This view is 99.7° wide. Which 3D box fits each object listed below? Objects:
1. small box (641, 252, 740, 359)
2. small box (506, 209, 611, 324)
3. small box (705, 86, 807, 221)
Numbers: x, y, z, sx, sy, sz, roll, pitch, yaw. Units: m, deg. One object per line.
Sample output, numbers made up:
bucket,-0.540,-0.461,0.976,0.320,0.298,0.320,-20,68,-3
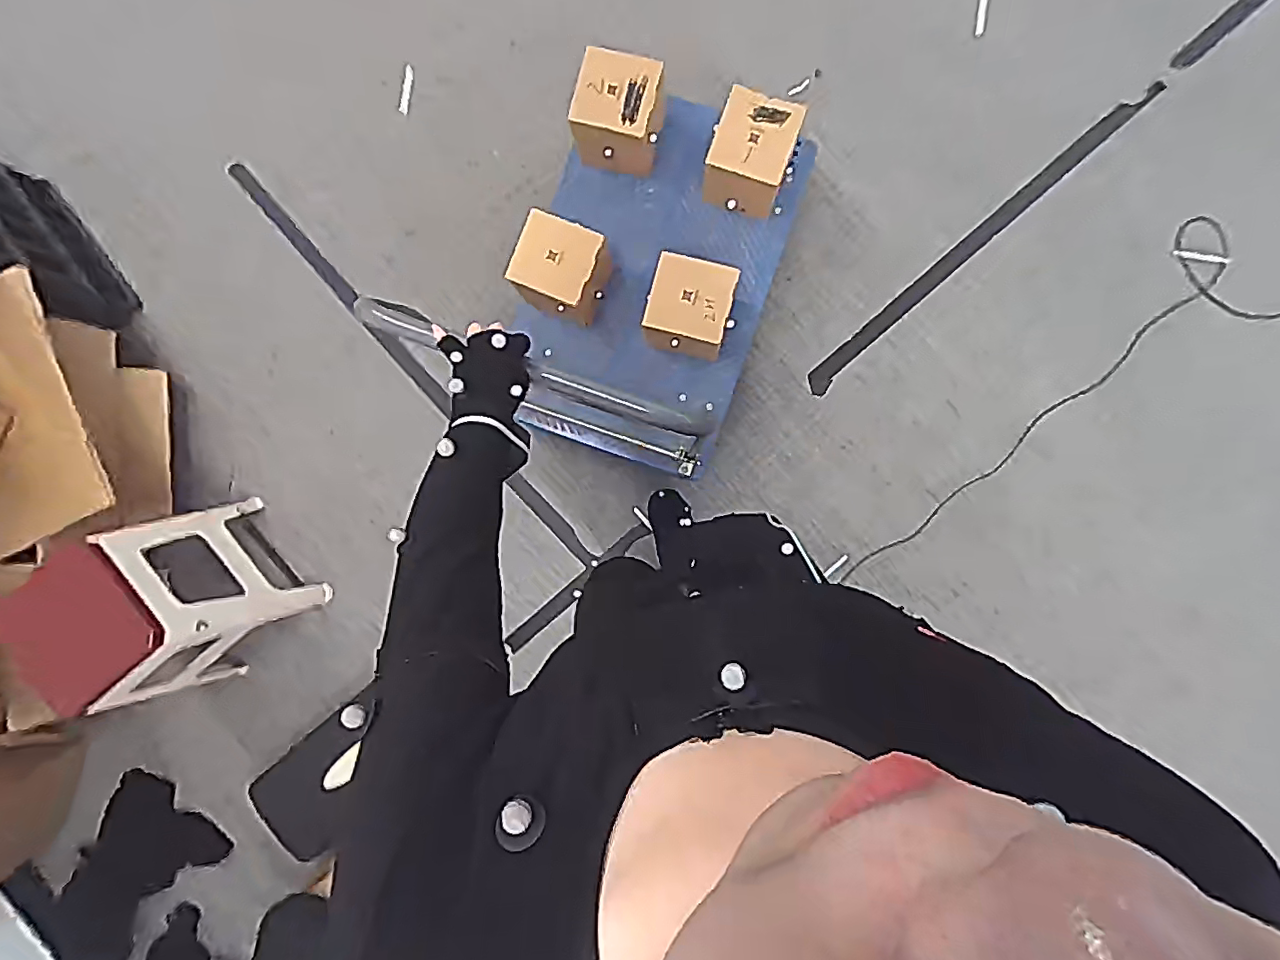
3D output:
small box,0.113,-0.386,1.228,0.179,0.176,0.168,16,91,4
small box,-0.180,-0.482,1.251,0.179,0.176,0.168,23,91,2
small box,0.250,-0.724,1.217,0.168,0.176,0.179,21,93,4
